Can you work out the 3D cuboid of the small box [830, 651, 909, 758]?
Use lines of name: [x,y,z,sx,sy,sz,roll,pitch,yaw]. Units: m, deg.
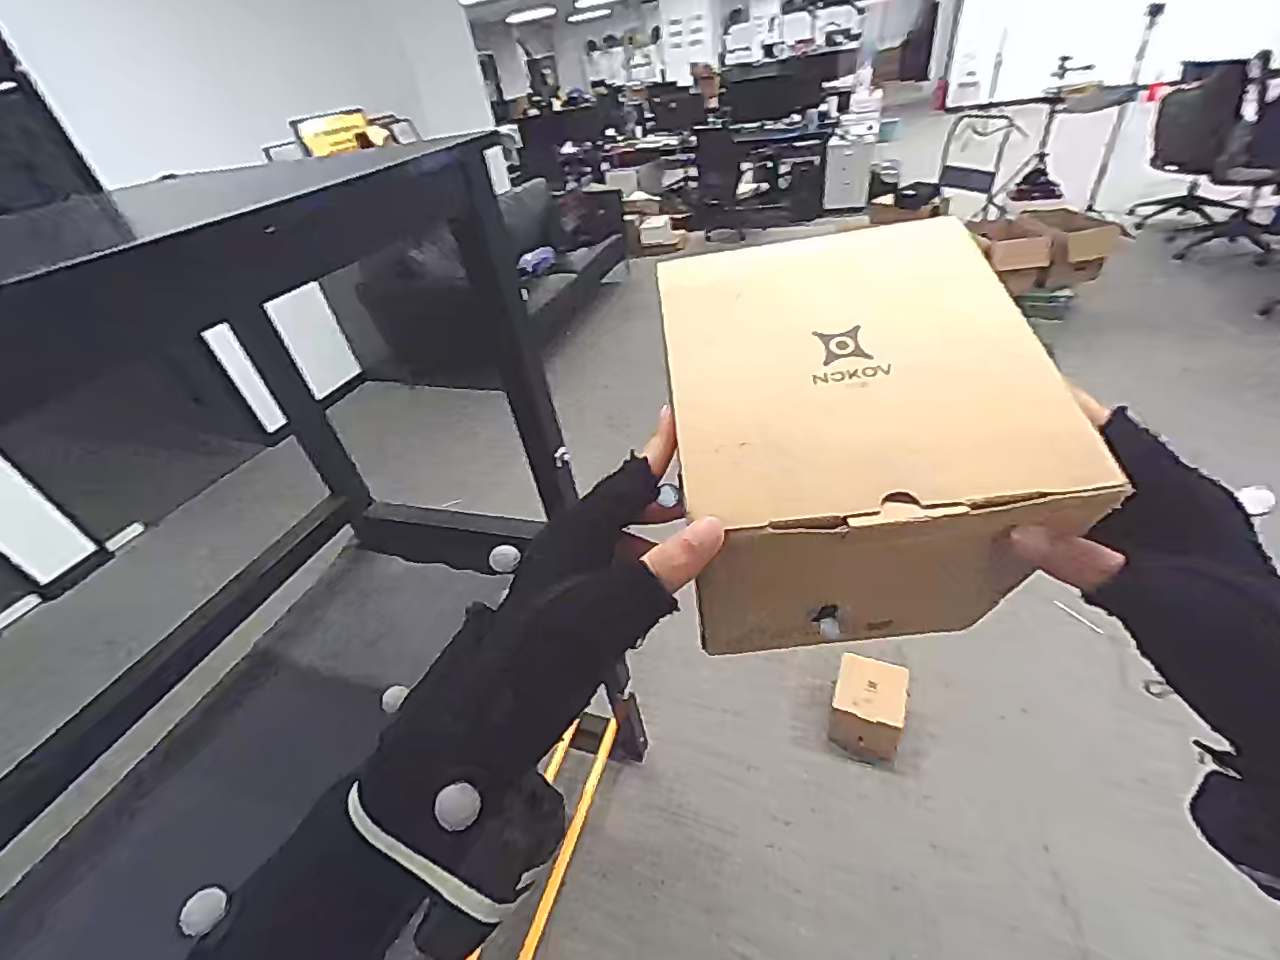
small box: [0.608,0.596,1.439,0.168,0.176,0.179,10,42,25]
